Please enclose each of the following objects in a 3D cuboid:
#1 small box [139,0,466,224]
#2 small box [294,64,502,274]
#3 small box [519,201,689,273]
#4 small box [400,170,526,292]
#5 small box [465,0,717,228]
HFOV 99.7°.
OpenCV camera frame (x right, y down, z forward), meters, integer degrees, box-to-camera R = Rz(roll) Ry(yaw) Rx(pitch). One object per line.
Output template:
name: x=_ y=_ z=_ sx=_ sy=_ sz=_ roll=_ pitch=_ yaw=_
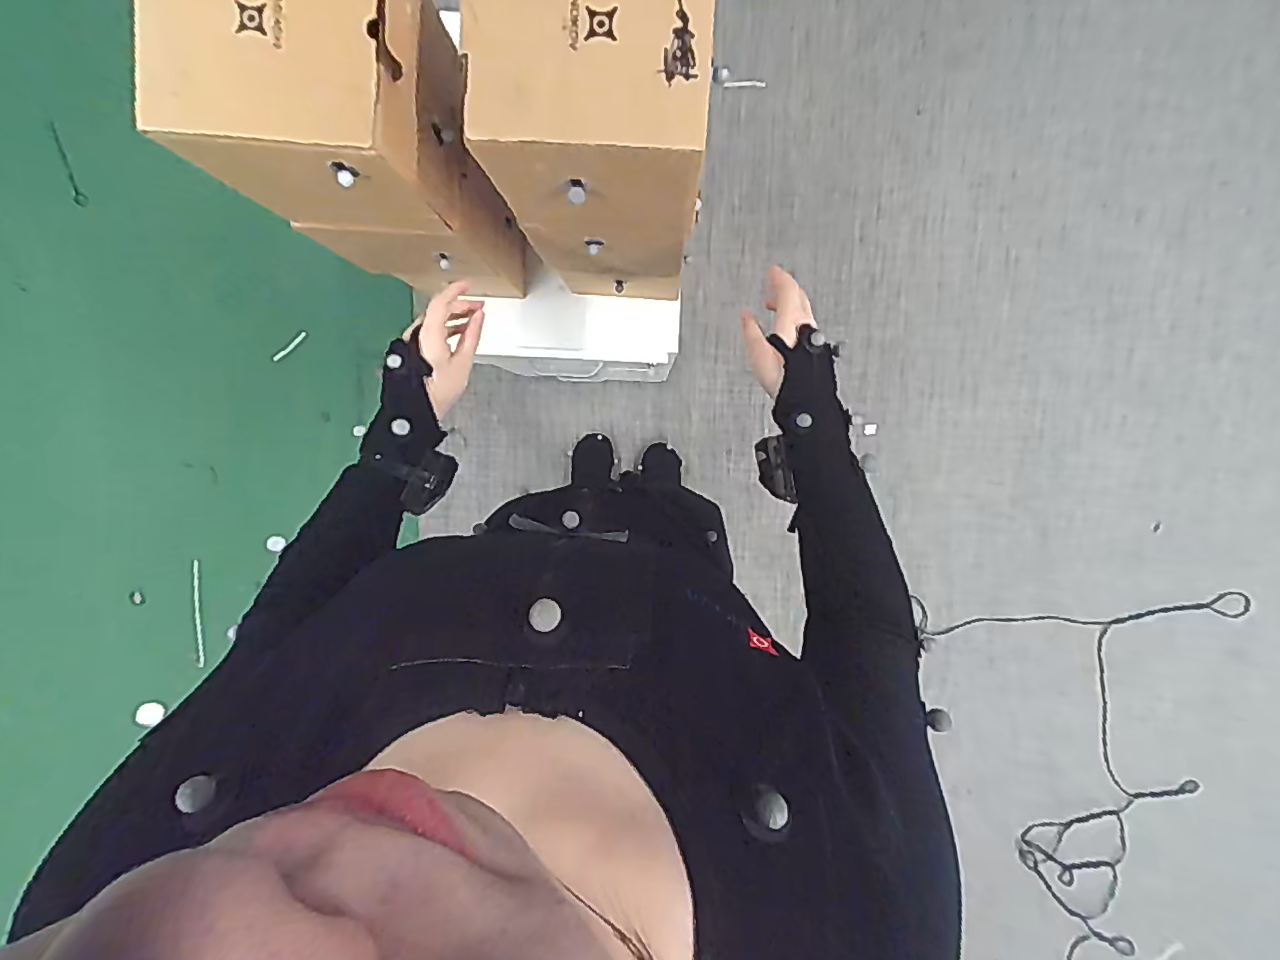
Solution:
small box: x=-0.265 y=-0.335 z=0.460 sx=0.179 sy=0.176 sz=0.168 roll=4 pitch=95 yaw=-1
small box: x=-0.263 y=-0.346 z=0.623 sx=0.179 sy=0.176 sz=0.168 roll=2 pitch=95 yaw=0
small box: x=-0.028 y=-0.346 z=0.618 sx=0.179 sy=0.176 sz=0.168 roll=5 pitch=96 yaw=1
small box: x=-0.262 y=-0.379 z=0.782 sx=0.168 sy=0.176 sz=0.179 roll=3 pitch=96 yaw=-2
small box: x=-0.029 y=-0.327 z=0.455 sx=0.179 sy=0.176 sz=0.168 roll=4 pitch=96 yaw=3
